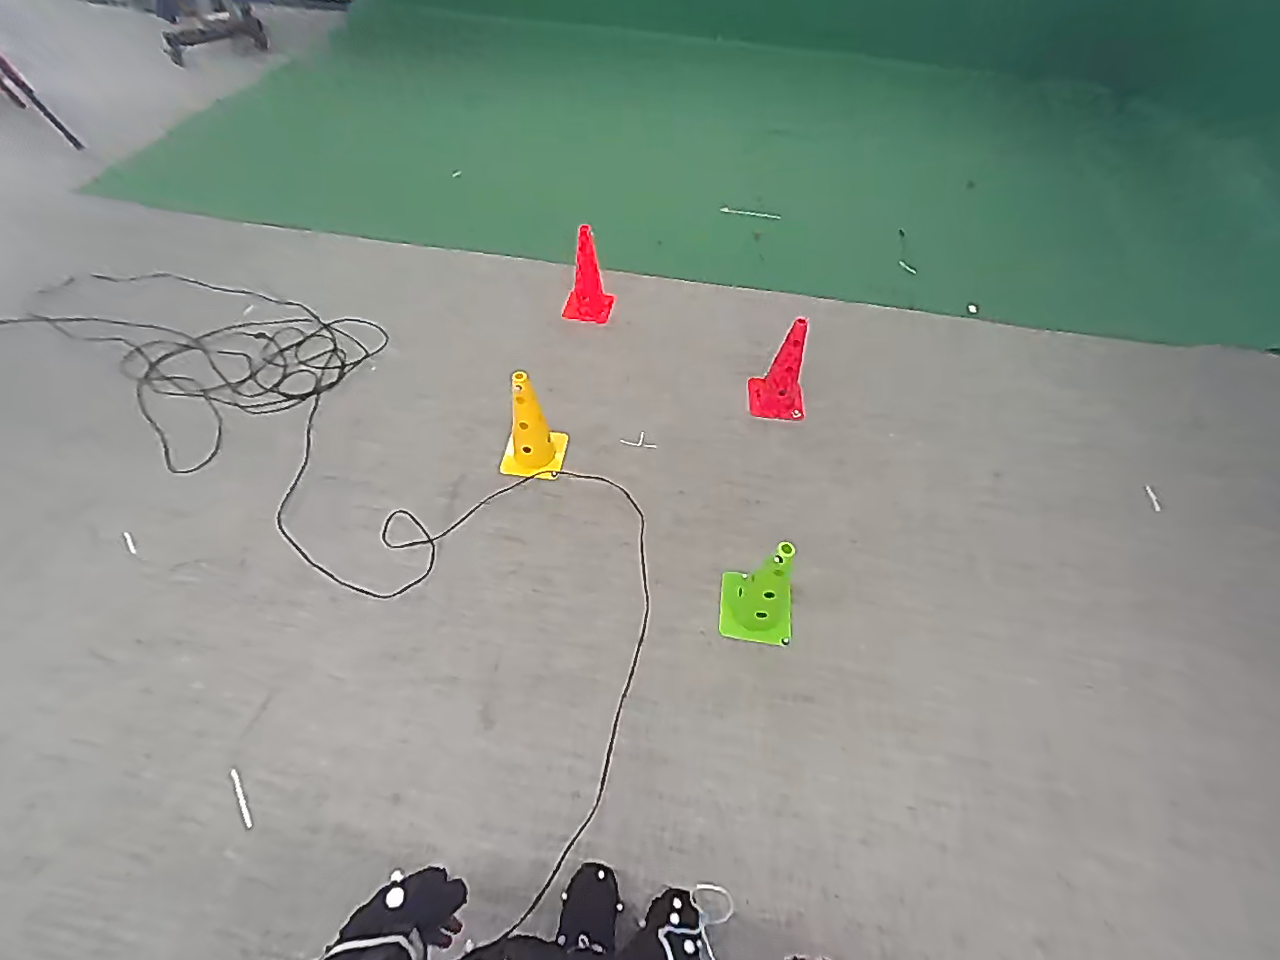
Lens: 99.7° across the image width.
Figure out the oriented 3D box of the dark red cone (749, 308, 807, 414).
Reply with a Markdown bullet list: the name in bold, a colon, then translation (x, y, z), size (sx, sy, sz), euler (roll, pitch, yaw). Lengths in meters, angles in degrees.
- **dark red cone**: translation (0.511, -0.419, 1.876), size (0.202, 0.394, 0.201), euler (5, 53, 1)

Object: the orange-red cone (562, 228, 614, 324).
- **orange-red cone**: translation (-0.218, -0.837, 2.180), size (0.198, 0.360, 0.199), euler (9, 55, 5)

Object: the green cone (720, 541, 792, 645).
- **green cone**: translation (0.334, 0.262, 1.404), size (0.202, 0.368, 0.200), euler (7, 54, 4)
